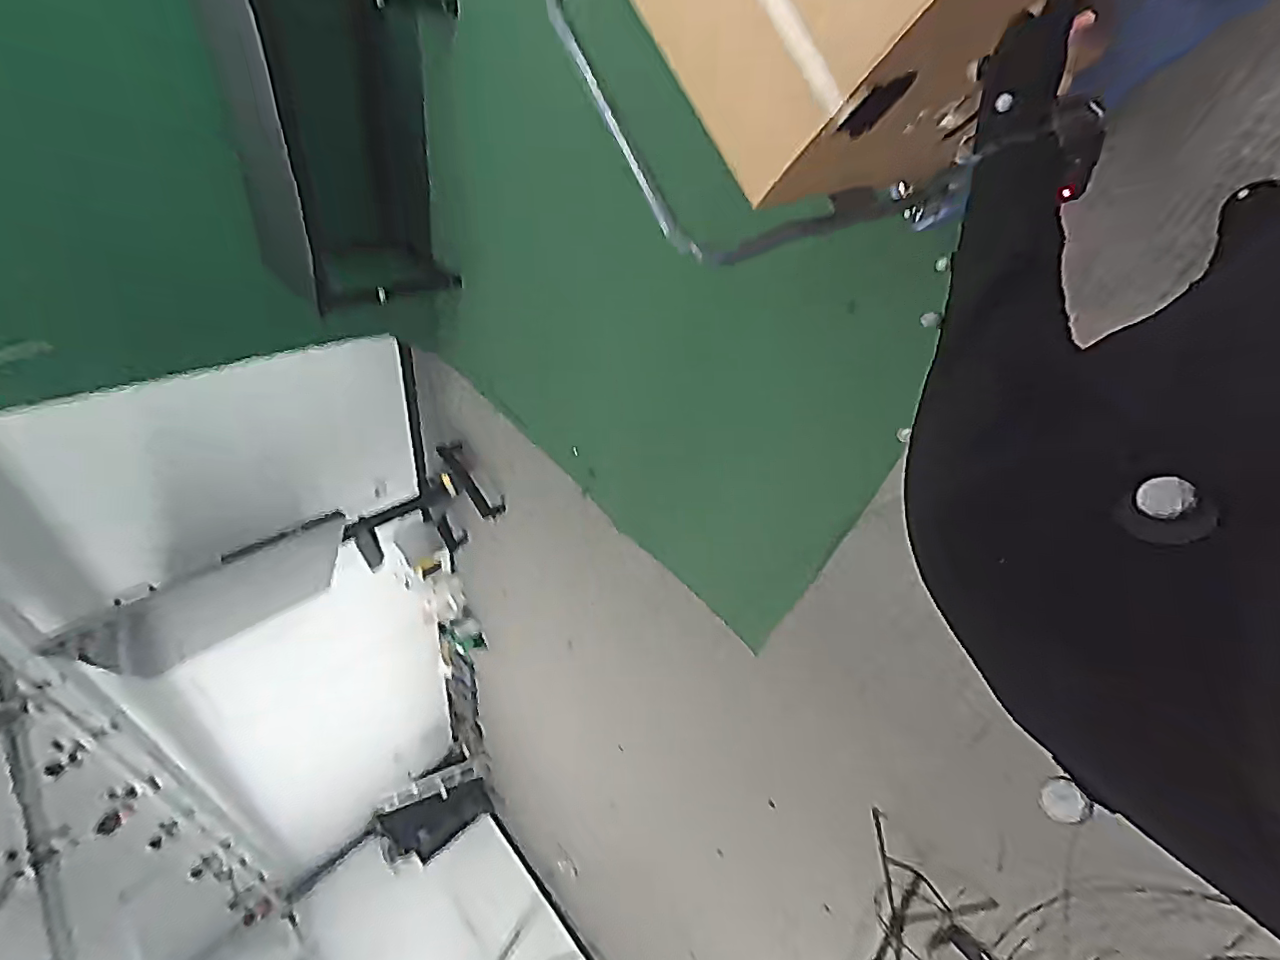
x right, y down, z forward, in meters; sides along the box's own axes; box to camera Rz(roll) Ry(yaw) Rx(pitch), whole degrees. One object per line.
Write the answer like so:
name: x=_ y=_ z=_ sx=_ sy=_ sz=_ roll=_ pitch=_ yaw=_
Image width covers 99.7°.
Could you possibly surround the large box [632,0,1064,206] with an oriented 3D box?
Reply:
large box: x=0.244 y=-0.643 z=0.699 sx=0.408 sy=0.320 sz=0.320 roll=61 pitch=148 yaw=3
